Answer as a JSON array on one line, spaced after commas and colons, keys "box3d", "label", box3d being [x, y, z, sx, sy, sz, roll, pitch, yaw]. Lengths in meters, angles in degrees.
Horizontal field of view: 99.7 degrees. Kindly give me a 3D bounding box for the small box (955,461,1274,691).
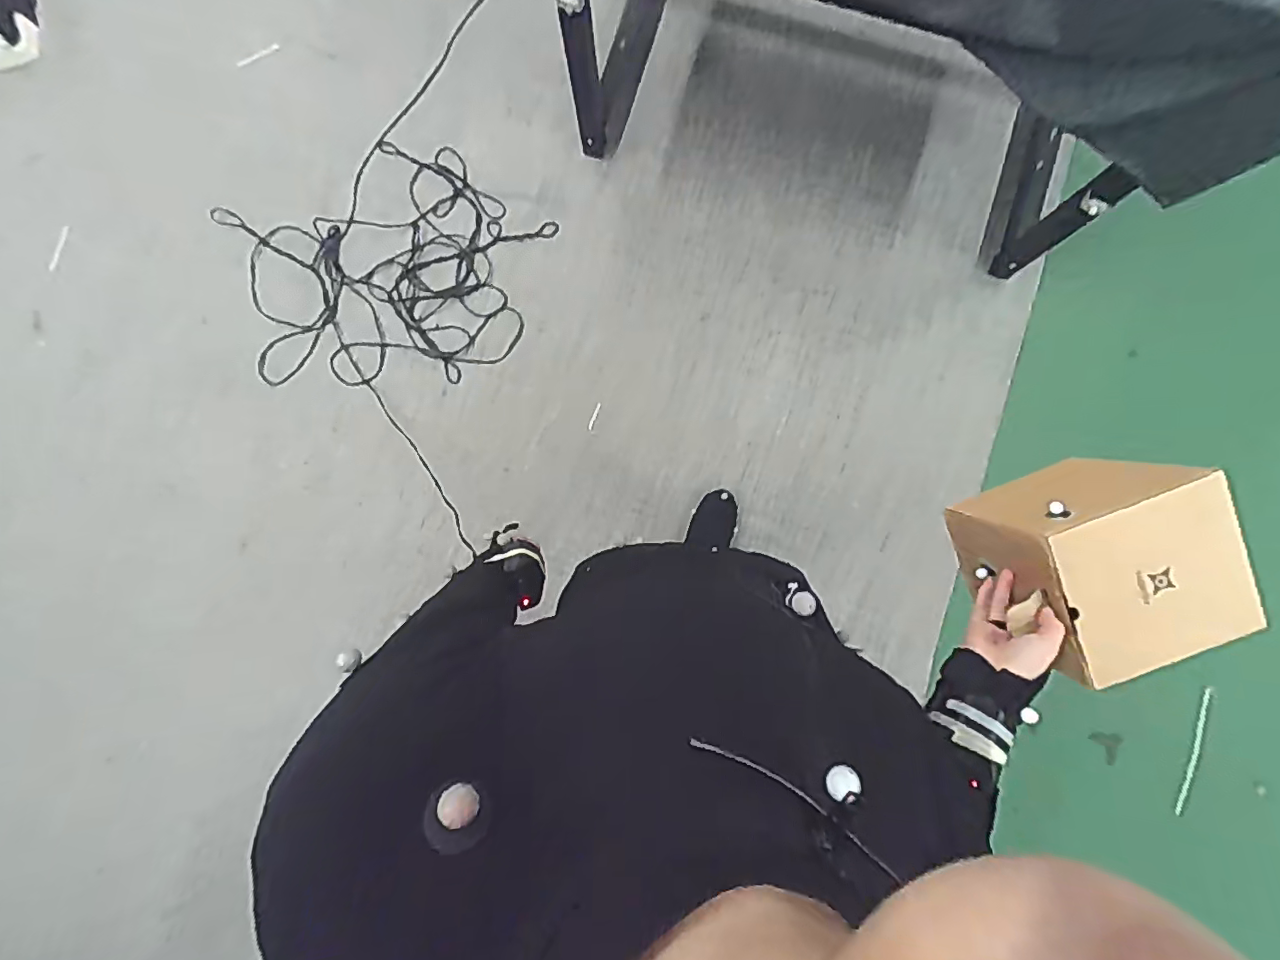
[{"box3d": [0.489, 0.087, 0.583, 0.179, 0.176, 0.168, -22, 96, 3], "label": "small box"}]
